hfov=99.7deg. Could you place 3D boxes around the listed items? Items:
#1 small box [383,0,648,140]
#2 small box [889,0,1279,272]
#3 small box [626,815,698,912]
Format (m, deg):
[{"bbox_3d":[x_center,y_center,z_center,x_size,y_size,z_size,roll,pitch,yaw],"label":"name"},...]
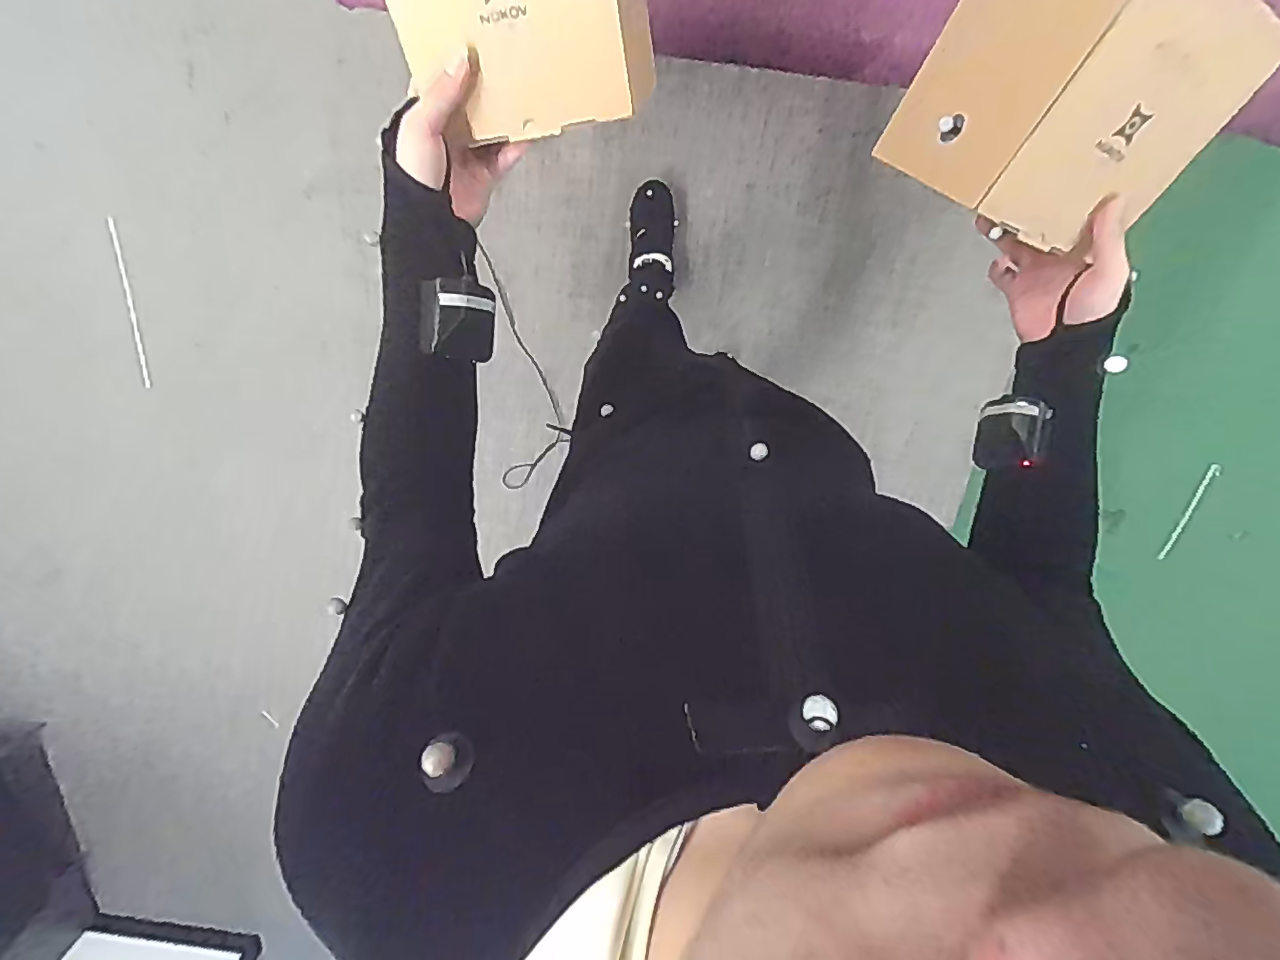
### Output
[{"bbox_3d":[-0.089,-0.389,0.416,0.168,0.176,0.179,-3,133,10],"label":"small box"},{"bbox_3d":[0.347,-0.314,0.457,0.168,0.176,0.179,9,130,-24],"label":"small box"},{"bbox_3d":[0.067,1.163,1.648,0.179,0.176,0.168,16,112,-3],"label":"small box"}]
